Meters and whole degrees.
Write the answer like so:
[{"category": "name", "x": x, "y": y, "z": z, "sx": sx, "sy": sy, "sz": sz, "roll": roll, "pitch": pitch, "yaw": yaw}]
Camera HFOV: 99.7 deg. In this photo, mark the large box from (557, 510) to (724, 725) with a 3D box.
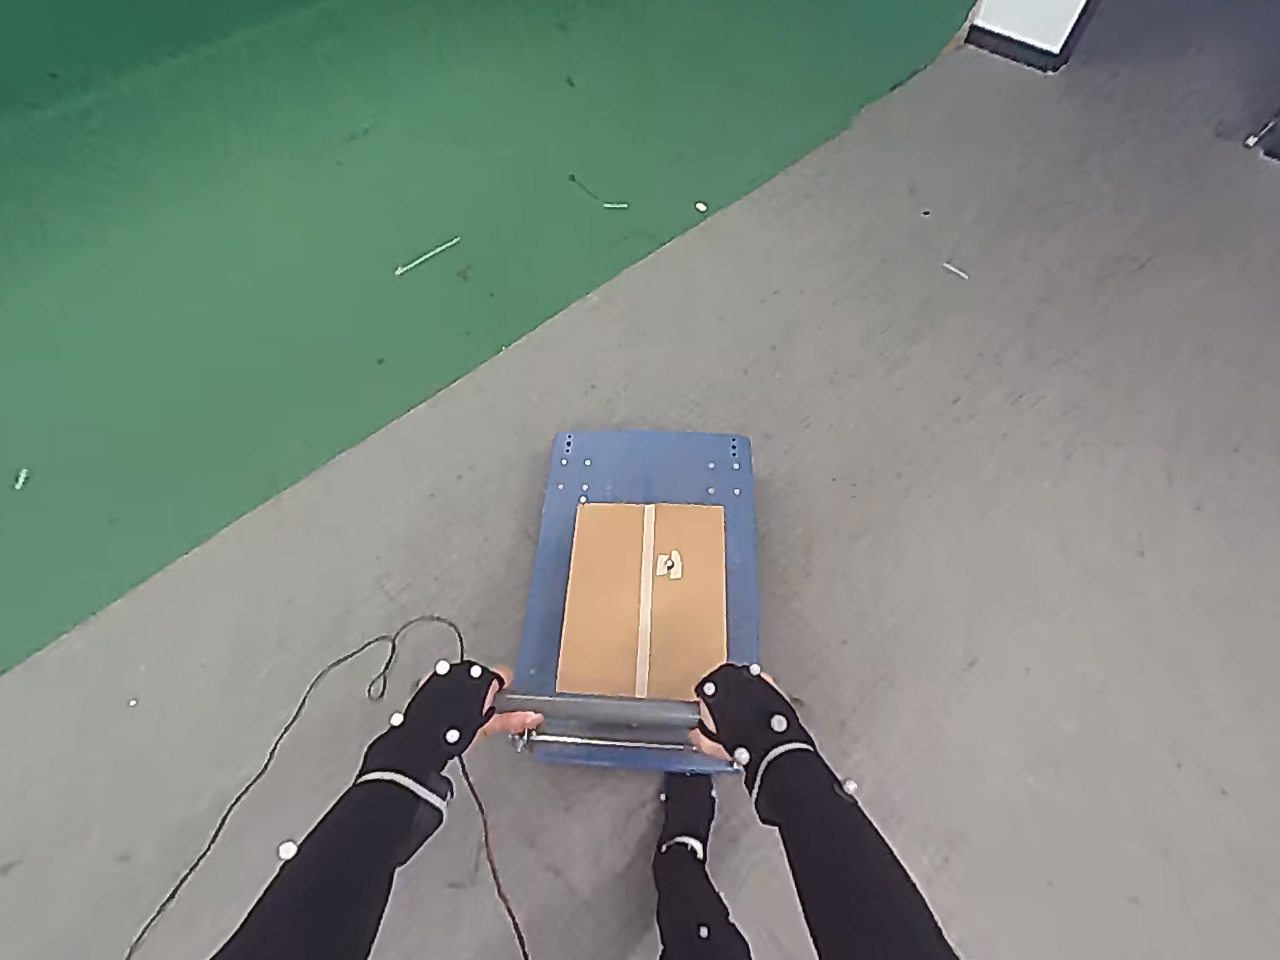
[{"category": "large box", "x": 0.016, "y": 0.314, "z": 1.209, "sx": 0.320, "sy": 0.320, "sz": 0.408, "roll": 2, "pitch": 61, "yaw": 4}]
